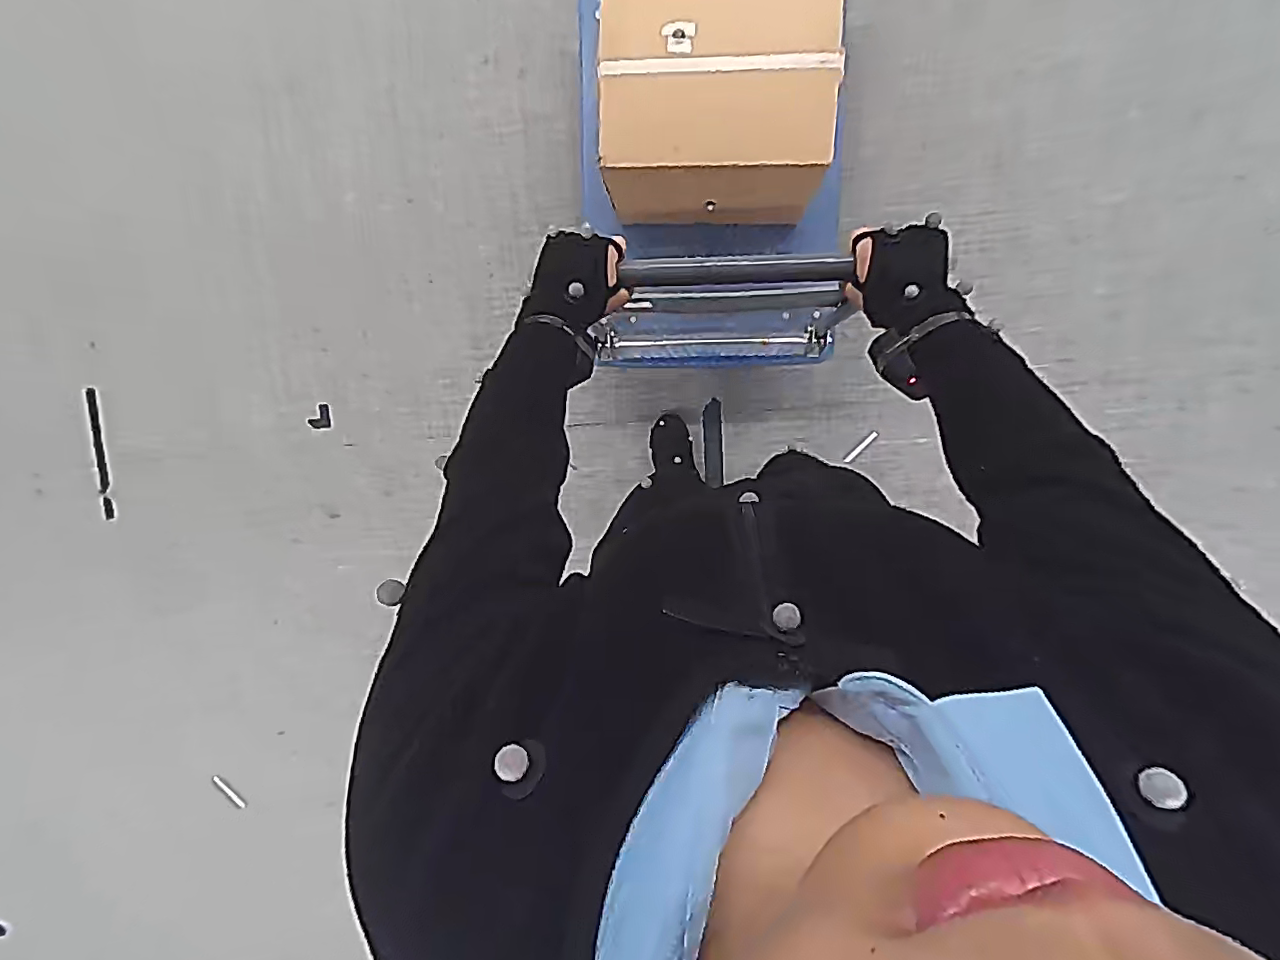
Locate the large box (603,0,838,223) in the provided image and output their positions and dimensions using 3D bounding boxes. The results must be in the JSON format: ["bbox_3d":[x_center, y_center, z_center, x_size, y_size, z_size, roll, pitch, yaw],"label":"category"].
[{"bbox_3d":[0.149,-0.724,1.075,0.408,0.320,0.320,2,97,6],"label":"large box"}]
